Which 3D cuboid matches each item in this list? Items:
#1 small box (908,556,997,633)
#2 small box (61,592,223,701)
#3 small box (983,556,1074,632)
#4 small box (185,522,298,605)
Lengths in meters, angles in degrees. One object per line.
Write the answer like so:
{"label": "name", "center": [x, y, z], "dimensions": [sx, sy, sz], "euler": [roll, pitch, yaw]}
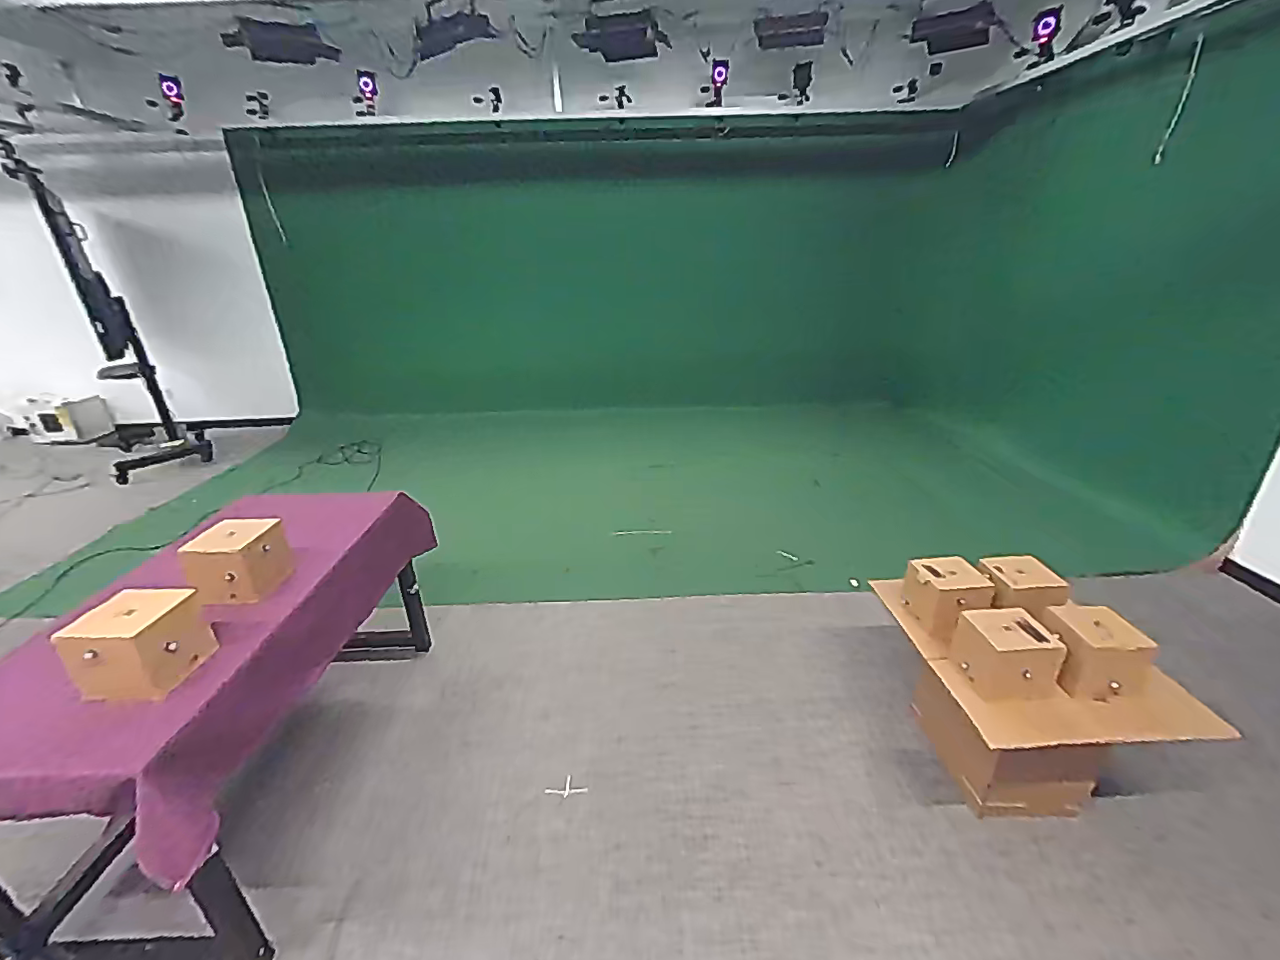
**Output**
{"label": "small box", "center": [0.948, 0.353, 1.662], "dimensions": [0.179, 0.176, 0.168], "euler": [-4, 23, -5]}
{"label": "small box", "center": [-1.077, 0.365, 1.188], "dimensions": [0.179, 0.176, 0.168], "euler": [-2, 23, 4]}
{"label": "small box", "center": [1.163, 0.348, 1.654], "dimensions": [0.179, 0.176, 0.168], "euler": [-1, 22, -2]}
{"label": "small box", "center": [-1.087, 0.232, 1.495], "dimensions": [0.168, 0.176, 0.179], "euler": [-1, 23, 2]}
